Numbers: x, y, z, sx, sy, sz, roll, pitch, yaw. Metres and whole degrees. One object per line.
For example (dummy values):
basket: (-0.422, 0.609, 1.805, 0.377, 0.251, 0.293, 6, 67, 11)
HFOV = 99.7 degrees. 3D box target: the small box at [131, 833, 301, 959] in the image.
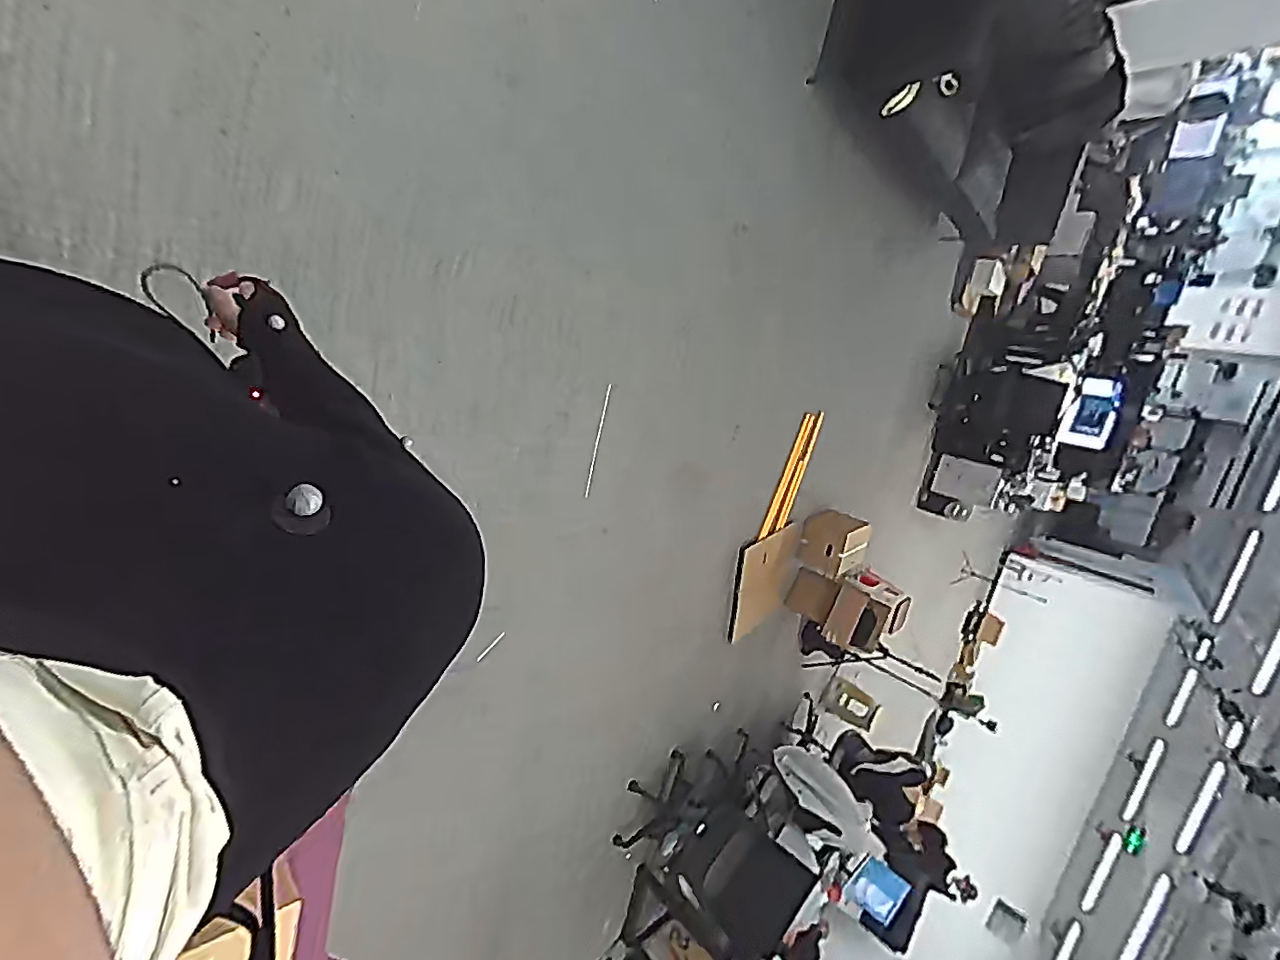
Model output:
small box: (-0.655, 0.698, 0.834, 0.179, 0.176, 0.168, 3, 106, -47)
